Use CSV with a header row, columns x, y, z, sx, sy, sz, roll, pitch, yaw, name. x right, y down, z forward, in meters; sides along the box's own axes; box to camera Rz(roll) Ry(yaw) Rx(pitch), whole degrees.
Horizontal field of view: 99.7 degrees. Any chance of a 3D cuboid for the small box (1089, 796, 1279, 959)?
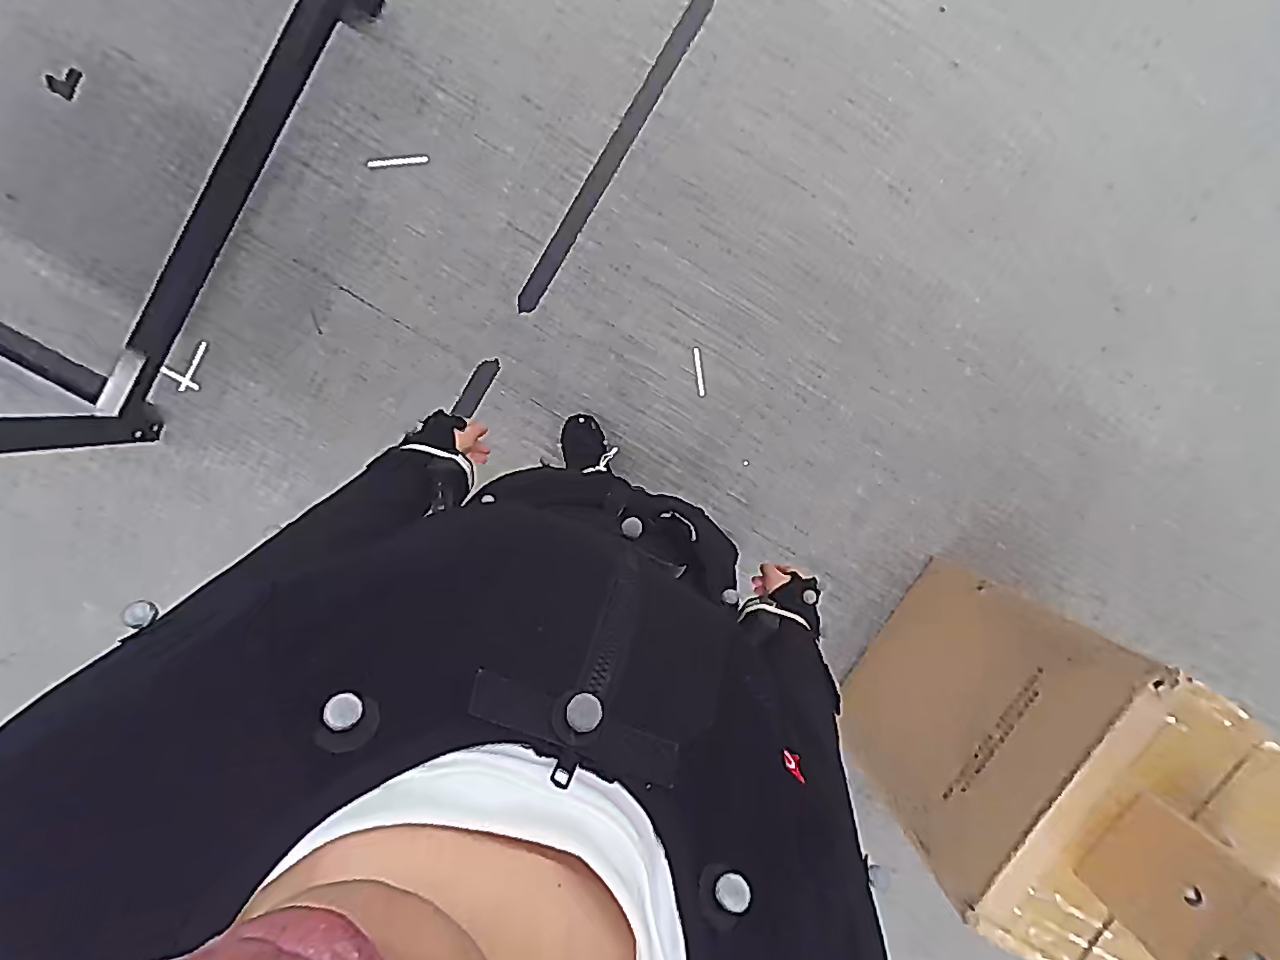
x,y,z,sx,sy,sz,roll,pitch,yaw,name
0.805,0.600,0.766,0.168,0.176,0.179,33,96,-5,small box
